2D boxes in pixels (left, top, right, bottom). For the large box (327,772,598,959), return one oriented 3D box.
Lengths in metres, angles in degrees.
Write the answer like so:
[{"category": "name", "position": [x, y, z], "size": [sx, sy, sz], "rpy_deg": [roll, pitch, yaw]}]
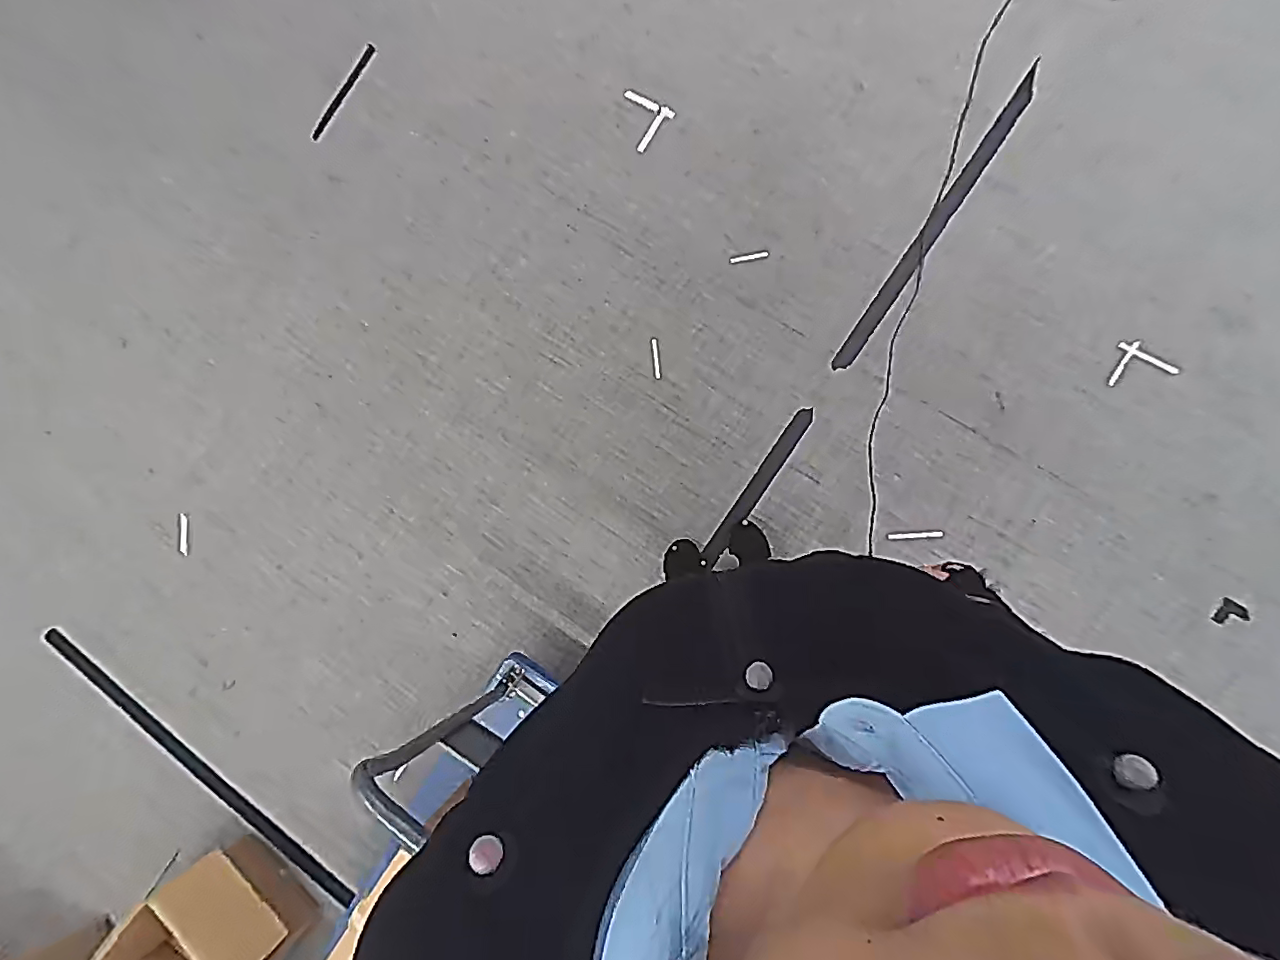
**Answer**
[{"category": "large box", "position": [-0.358, 0.938, 1.174], "size": [0.408, 0.320, 0.320], "rpy_deg": [33, 90, 8]}]
